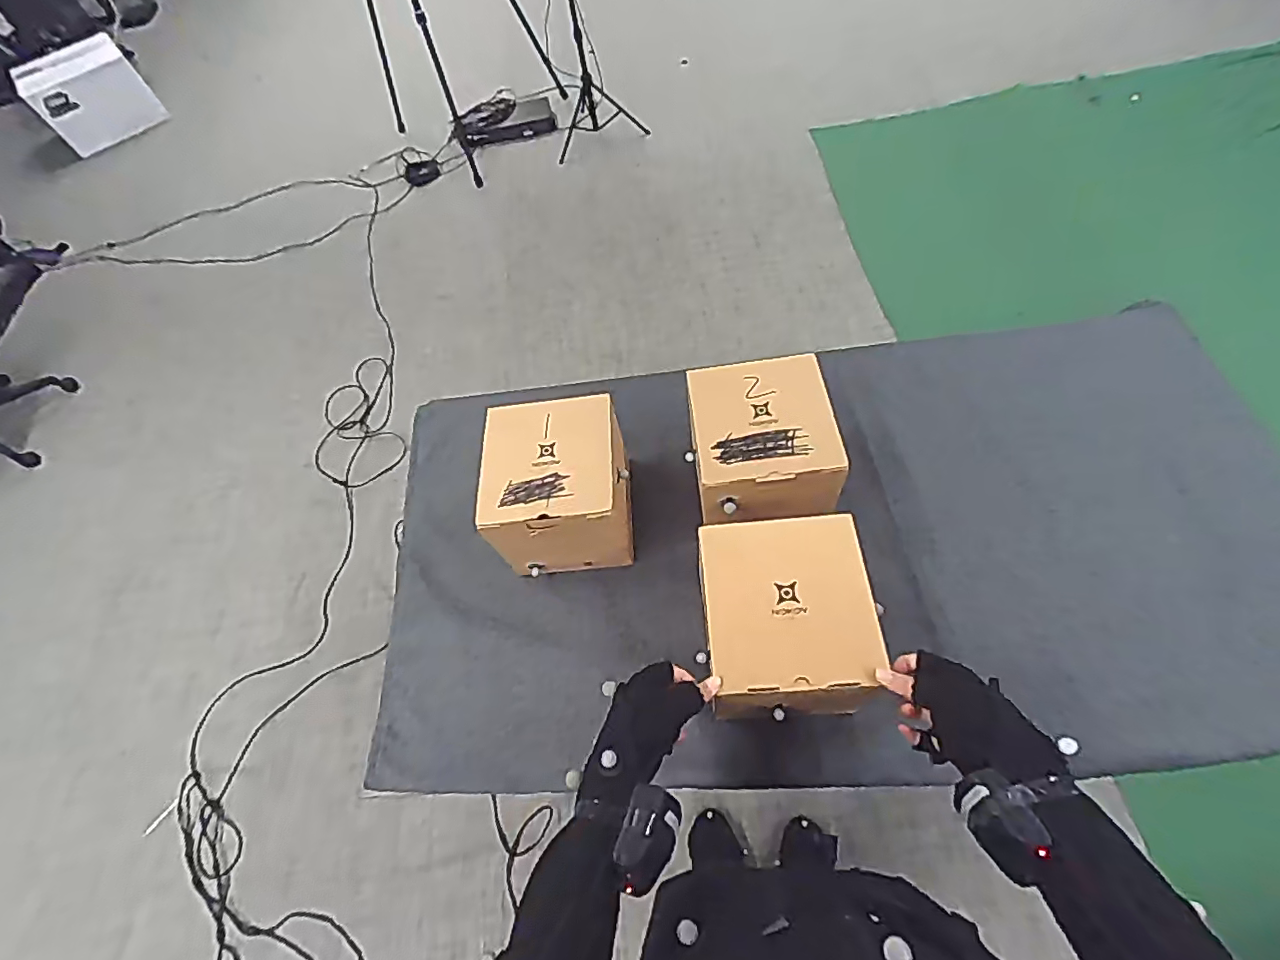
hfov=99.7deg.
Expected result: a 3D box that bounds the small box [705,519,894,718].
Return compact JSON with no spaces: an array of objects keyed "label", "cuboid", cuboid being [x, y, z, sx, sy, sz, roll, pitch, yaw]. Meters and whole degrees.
[{"label":"small box","cuboid":[0.161,0.163,0.615,0.168,0.176,0.179,-5,59,6]}]

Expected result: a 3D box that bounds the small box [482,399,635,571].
[{"label":"small box","cuboid":[-0.100,0.016,0.739,0.168,0.176,0.179,-6,59,5]}]
